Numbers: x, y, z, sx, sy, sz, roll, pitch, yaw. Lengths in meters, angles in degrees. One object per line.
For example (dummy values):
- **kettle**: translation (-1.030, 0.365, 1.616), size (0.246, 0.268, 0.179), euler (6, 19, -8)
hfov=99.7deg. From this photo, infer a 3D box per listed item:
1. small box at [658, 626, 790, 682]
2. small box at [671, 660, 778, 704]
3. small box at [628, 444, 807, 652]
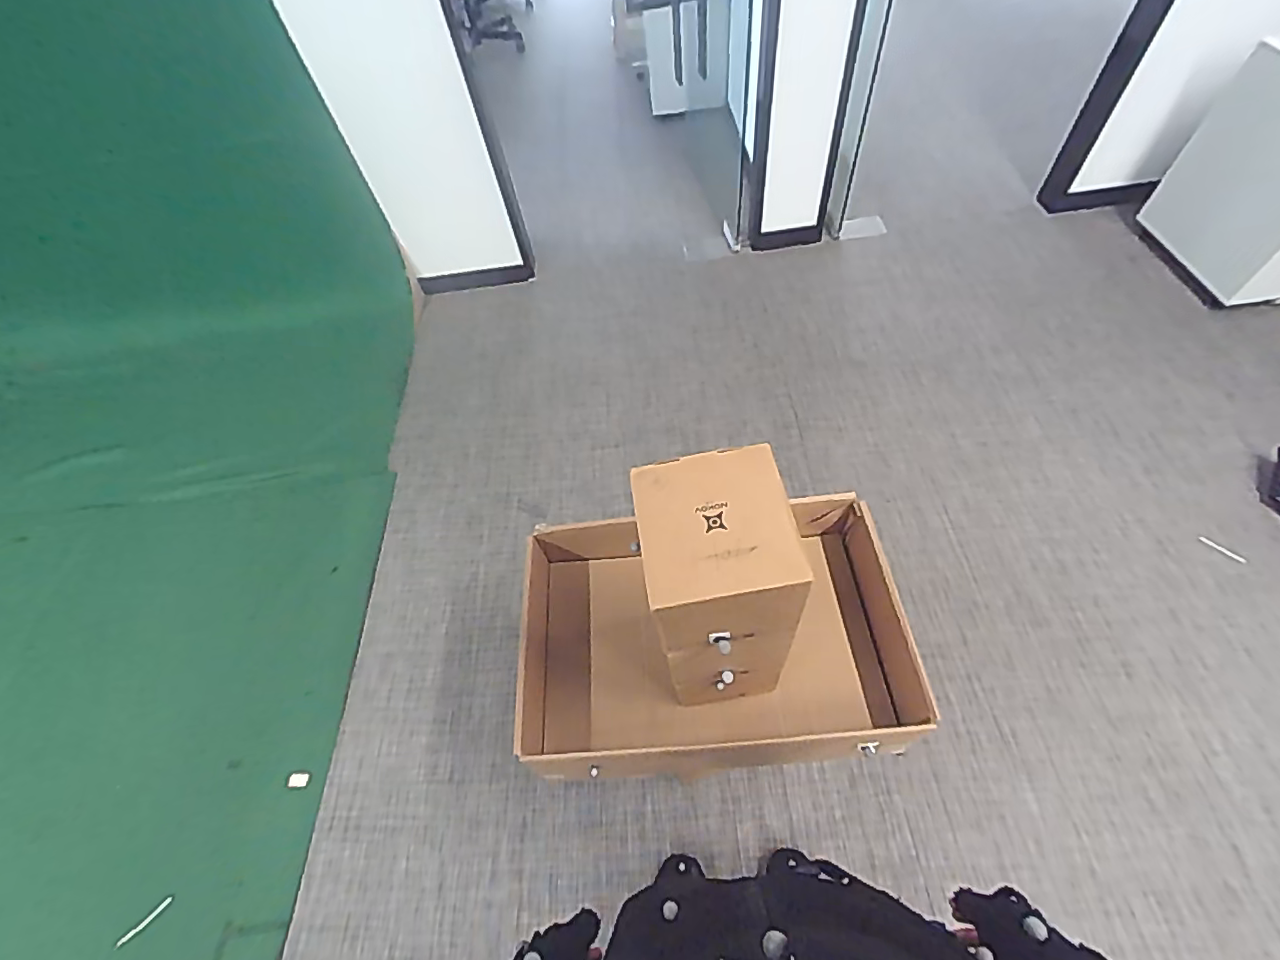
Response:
- **small box**: translation (0.105, 0.175, 0.783), size (0.168, 0.176, 0.179), euler (-10, 56, 2)
- **small box**: translation (0.127, 0.261, 0.921), size (0.168, 0.176, 0.179), euler (-12, 55, 3)
- **small box**: translation (0.085, 0.086, 0.649), size (0.168, 0.176, 0.179), euler (-11, 56, 2)
